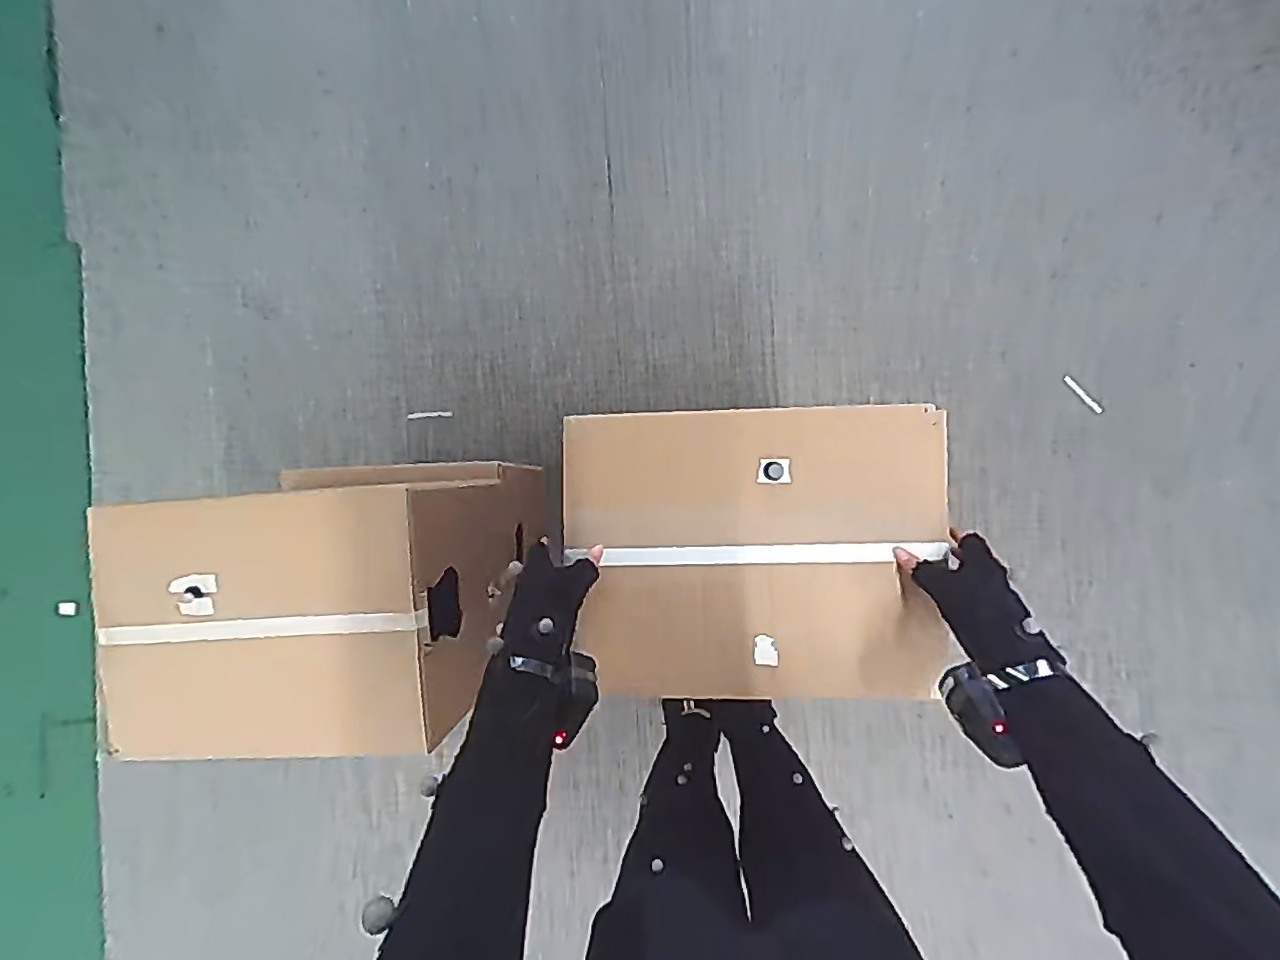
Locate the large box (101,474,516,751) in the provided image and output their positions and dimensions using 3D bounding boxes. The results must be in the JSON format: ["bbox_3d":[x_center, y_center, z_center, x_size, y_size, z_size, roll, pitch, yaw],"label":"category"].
[{"bbox_3d":[-0.433,0.164,0.788,0.408,0.320,0.320,-3,91,7],"label":"large box"}]
